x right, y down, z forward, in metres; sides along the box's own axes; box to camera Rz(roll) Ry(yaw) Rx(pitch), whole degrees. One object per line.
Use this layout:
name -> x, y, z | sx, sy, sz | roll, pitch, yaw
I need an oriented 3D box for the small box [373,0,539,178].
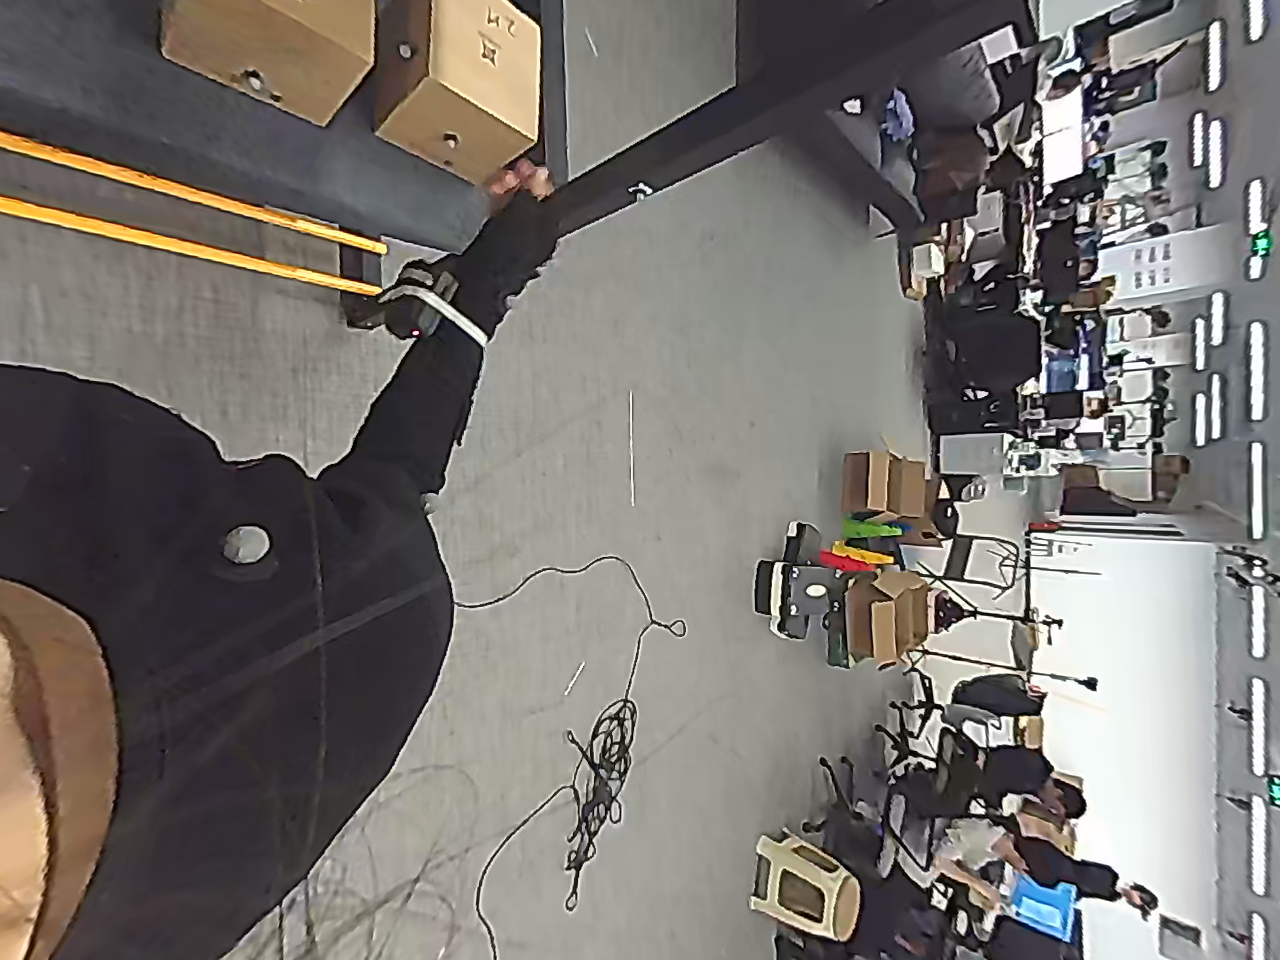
small box -> -0.264, -0.574, 0.773 | 0.168, 0.176, 0.179 | 4, 86, -48
